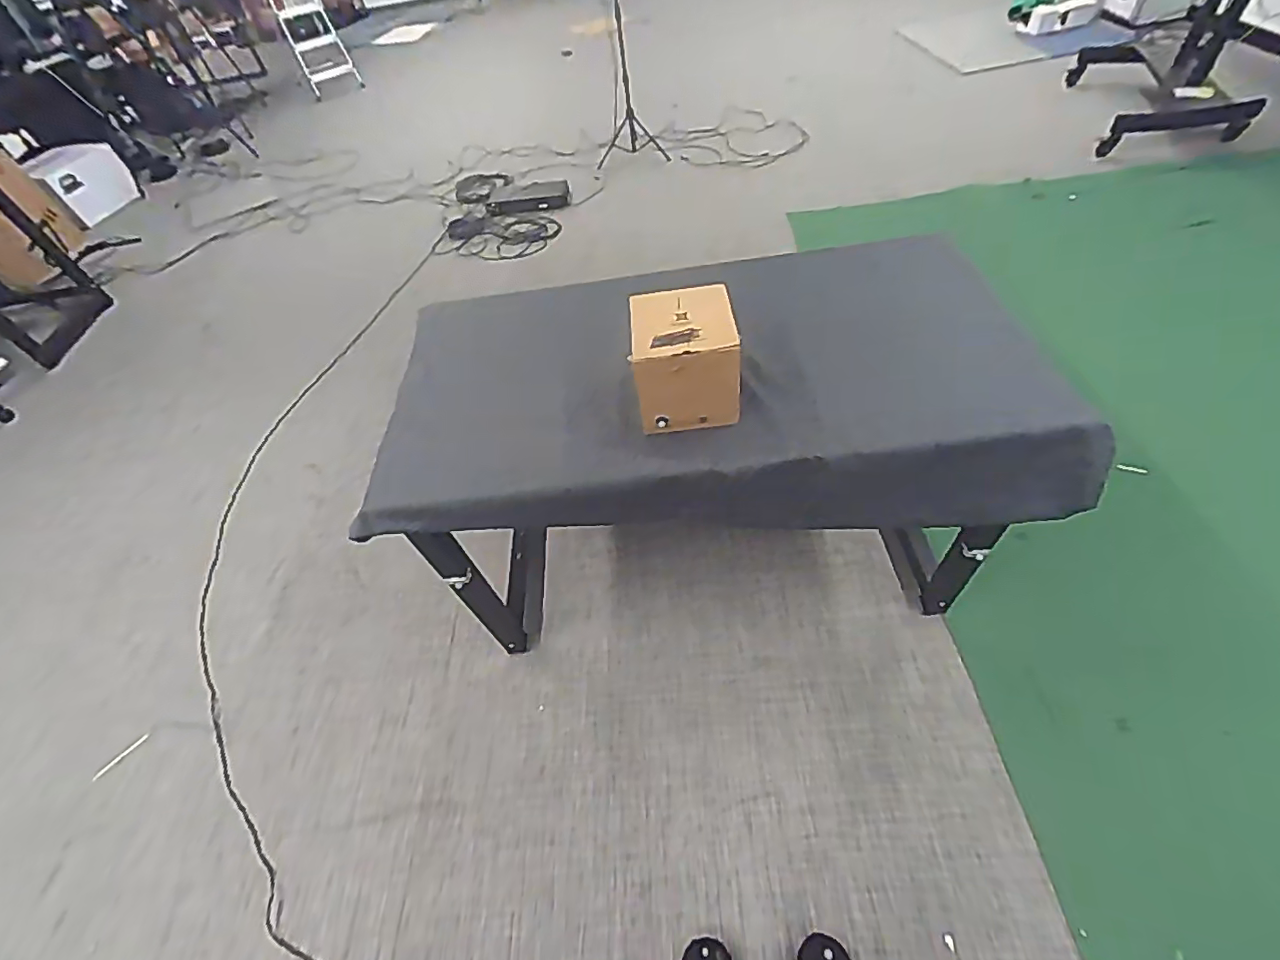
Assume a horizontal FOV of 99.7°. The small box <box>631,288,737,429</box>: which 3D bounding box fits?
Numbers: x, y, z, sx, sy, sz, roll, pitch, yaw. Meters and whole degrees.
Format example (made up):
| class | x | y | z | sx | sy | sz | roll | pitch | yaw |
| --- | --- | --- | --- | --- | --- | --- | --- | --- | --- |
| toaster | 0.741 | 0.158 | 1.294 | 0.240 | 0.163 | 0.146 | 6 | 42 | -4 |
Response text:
| class | x | y | z | sx | sy | sz | roll | pitch | yaw |
| --- | --- | --- | --- | --- | --- | --- | --- | --- | --- |
| small box | 0.078 | -0.203 | 0.940 | 0.168 | 0.176 | 0.179 | -6 | 50 | 4 |
